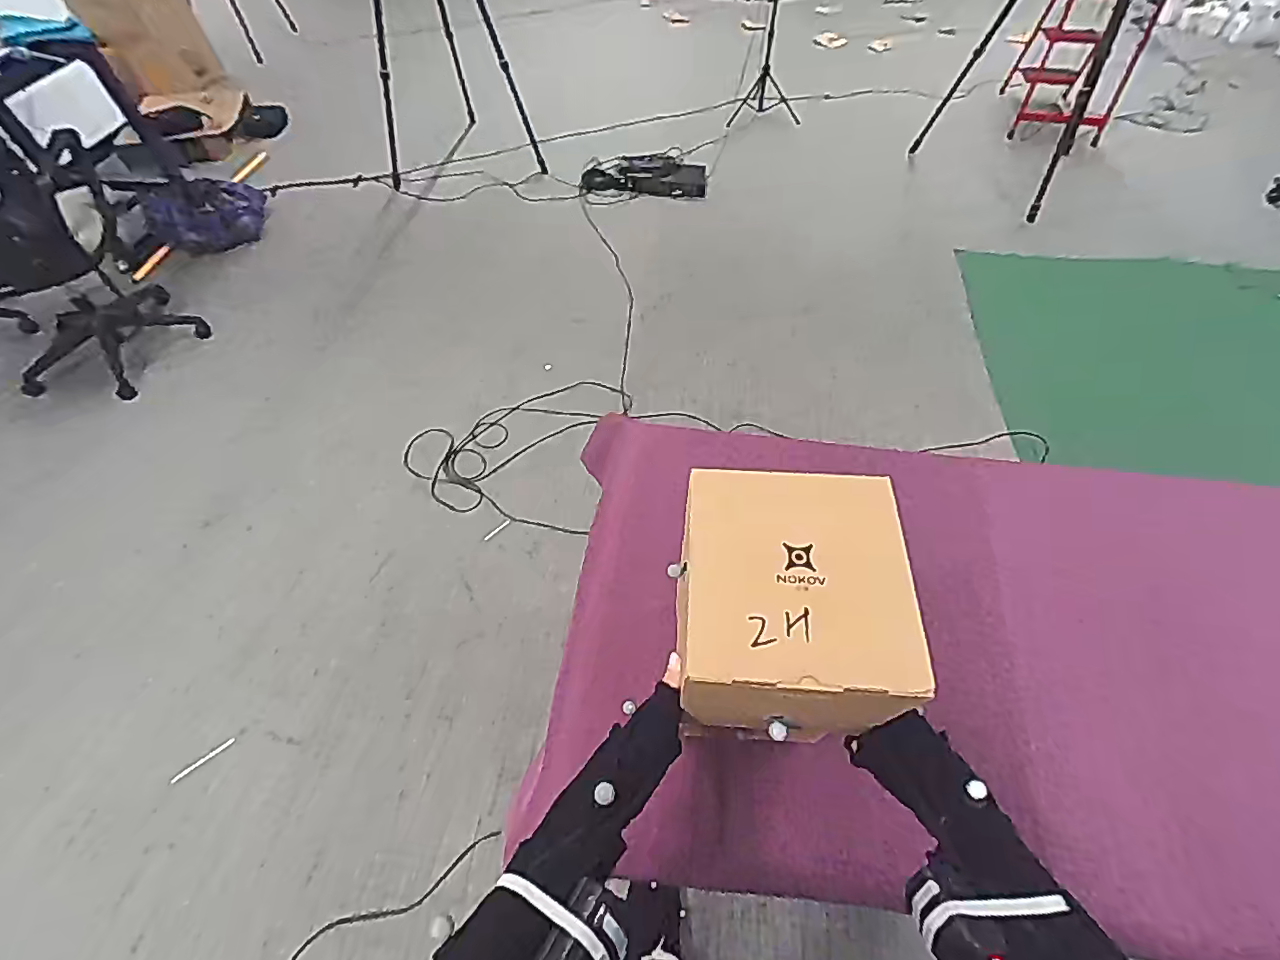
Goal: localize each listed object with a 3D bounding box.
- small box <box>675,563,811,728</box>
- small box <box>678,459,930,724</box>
[{"bbox_3d":[0.127,0.176,0.625,0.168,0.176,0.179,2,58,2],"label":"small box"},{"bbox_3d":[0.121,0.103,0.476,0.168,0.176,0.179,3,58,4],"label":"small box"}]
